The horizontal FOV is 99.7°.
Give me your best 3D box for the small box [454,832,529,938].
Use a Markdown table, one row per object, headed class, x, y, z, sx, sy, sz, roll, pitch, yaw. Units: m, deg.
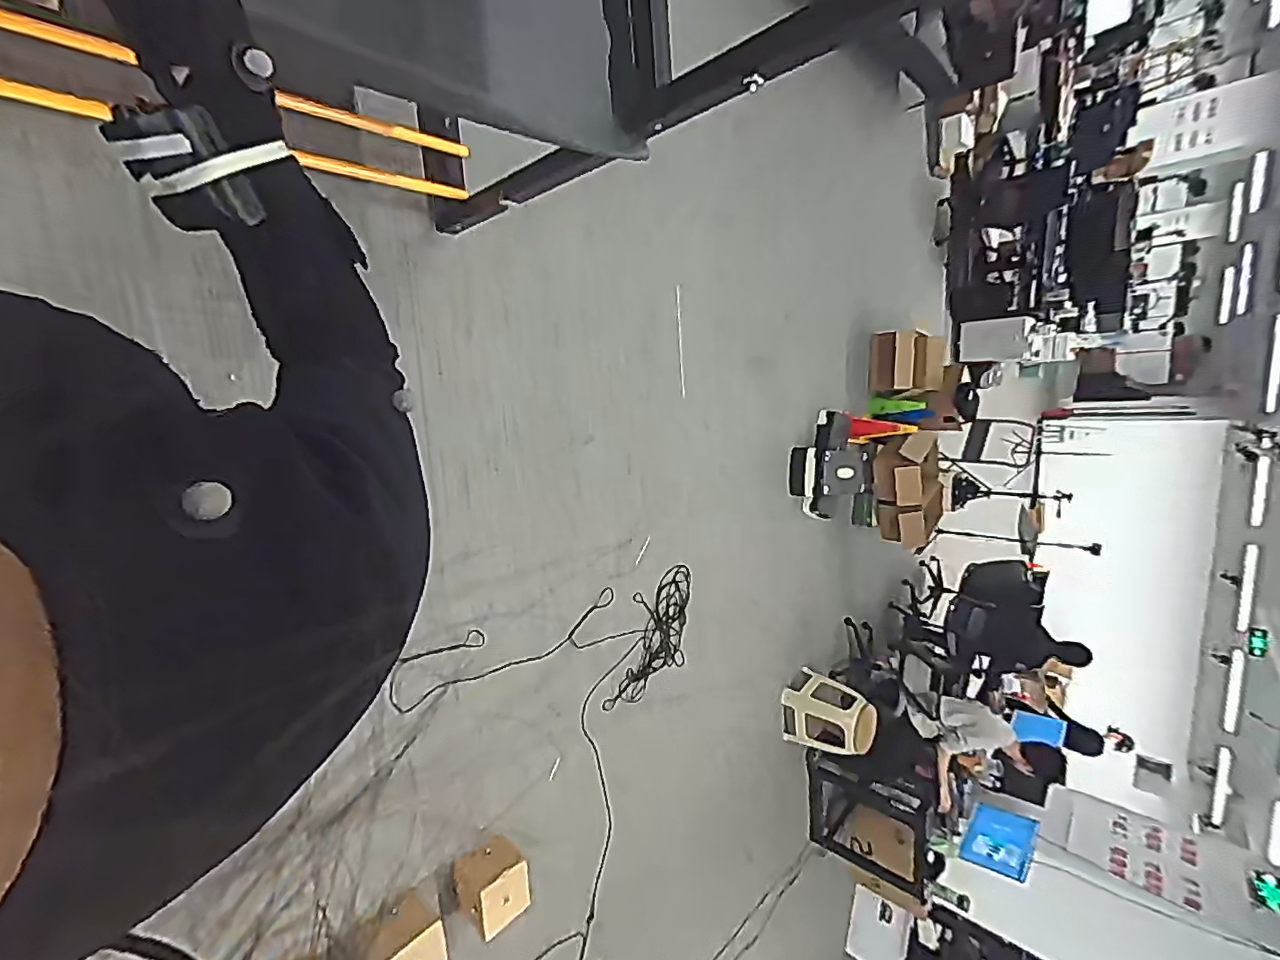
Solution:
| class | x | y | z | sx | sy | sz | roll | pitch | yaw |
| --- | --- | --- | --- | --- | --- | --- | --- | --- | --- |
| small box | -0.475 | 1.281 | 1.726 | 0.168 | 0.176 | 0.179 | -13 | 102 | -46 |
